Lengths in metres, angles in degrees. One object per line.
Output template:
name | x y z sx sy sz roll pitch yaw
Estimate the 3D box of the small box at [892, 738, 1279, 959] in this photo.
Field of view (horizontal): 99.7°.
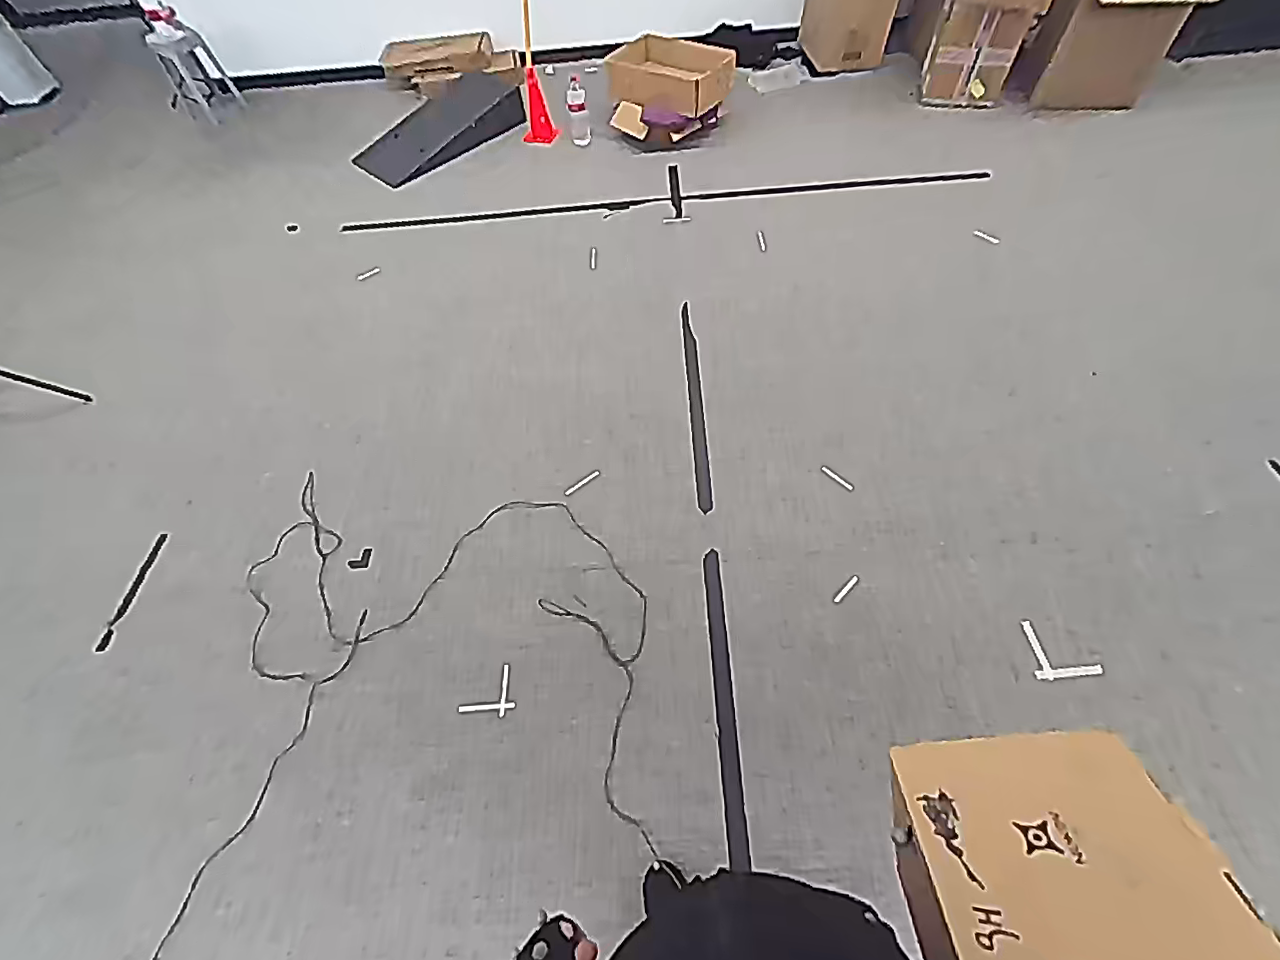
small box | 0.311 0.331 0.420 0.179 0.176 0.168 -9 22 12
